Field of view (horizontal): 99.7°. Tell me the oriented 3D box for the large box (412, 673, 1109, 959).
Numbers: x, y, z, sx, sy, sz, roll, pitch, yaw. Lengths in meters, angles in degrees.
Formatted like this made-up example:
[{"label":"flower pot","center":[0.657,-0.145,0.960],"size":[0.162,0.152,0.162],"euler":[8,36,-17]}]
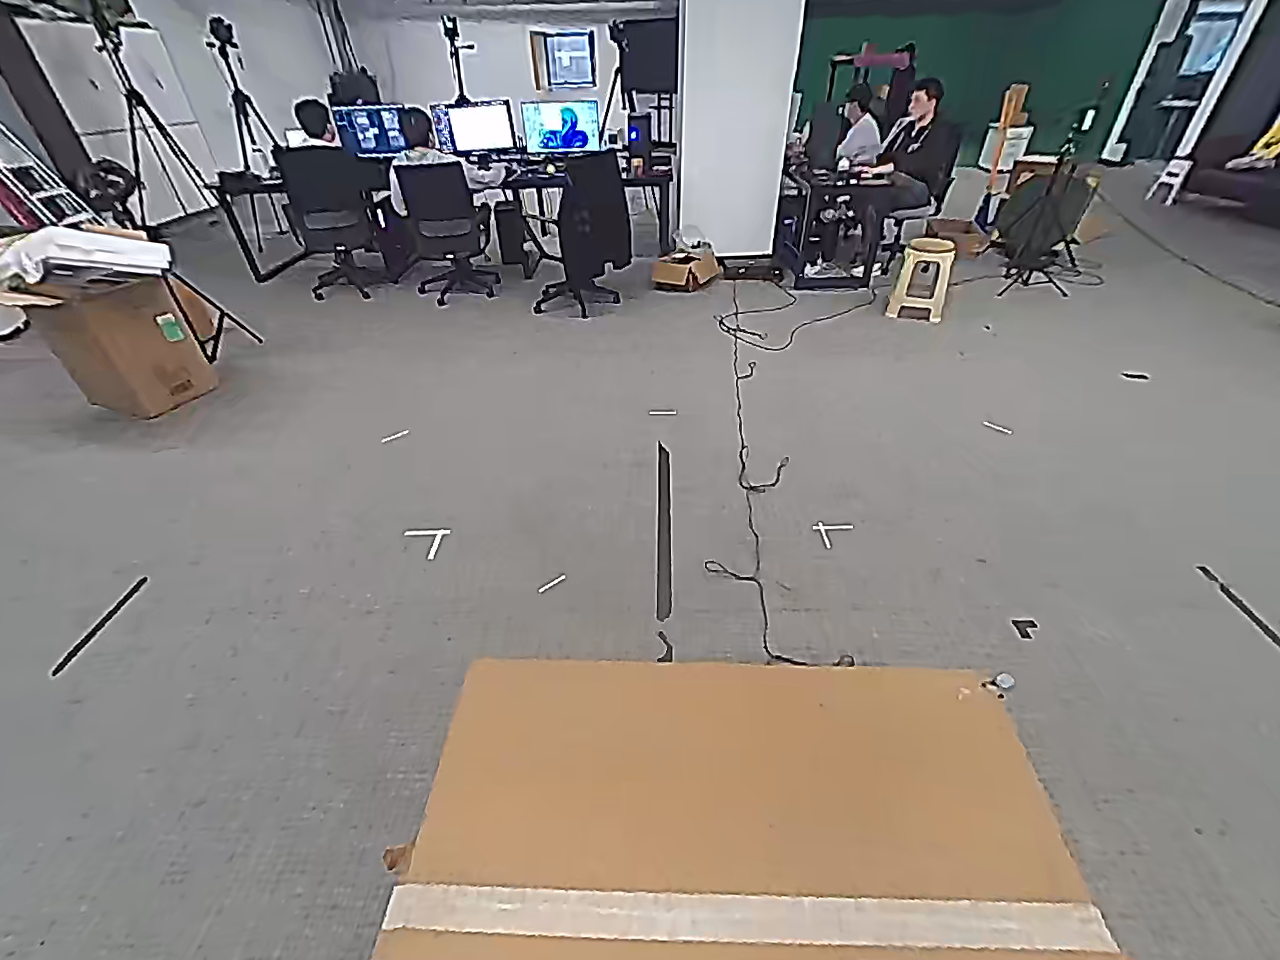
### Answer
[{"label":"large box","center":[0.067,0.369,0.422],"size":[0.408,0.320,0.320],"euler":[1,44,1]}]
